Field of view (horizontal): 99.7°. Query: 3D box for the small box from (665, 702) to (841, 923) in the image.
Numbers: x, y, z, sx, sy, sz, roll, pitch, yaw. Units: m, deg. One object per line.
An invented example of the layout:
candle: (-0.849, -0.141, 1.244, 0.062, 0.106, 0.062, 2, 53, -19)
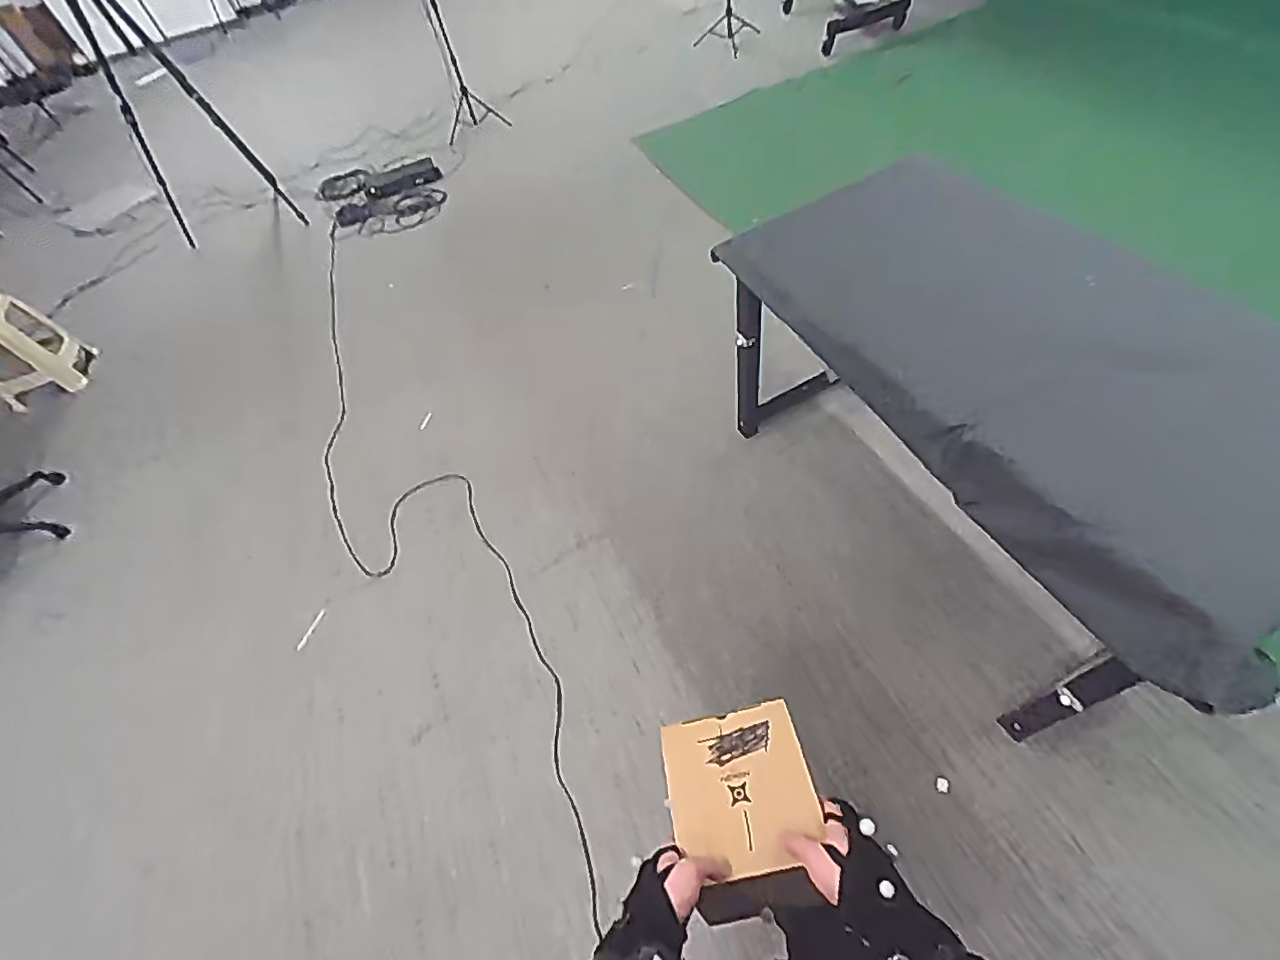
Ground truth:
small box: (0.137, 0.416, 0.678, 0.168, 0.176, 0.179, -15, 40, 3)
